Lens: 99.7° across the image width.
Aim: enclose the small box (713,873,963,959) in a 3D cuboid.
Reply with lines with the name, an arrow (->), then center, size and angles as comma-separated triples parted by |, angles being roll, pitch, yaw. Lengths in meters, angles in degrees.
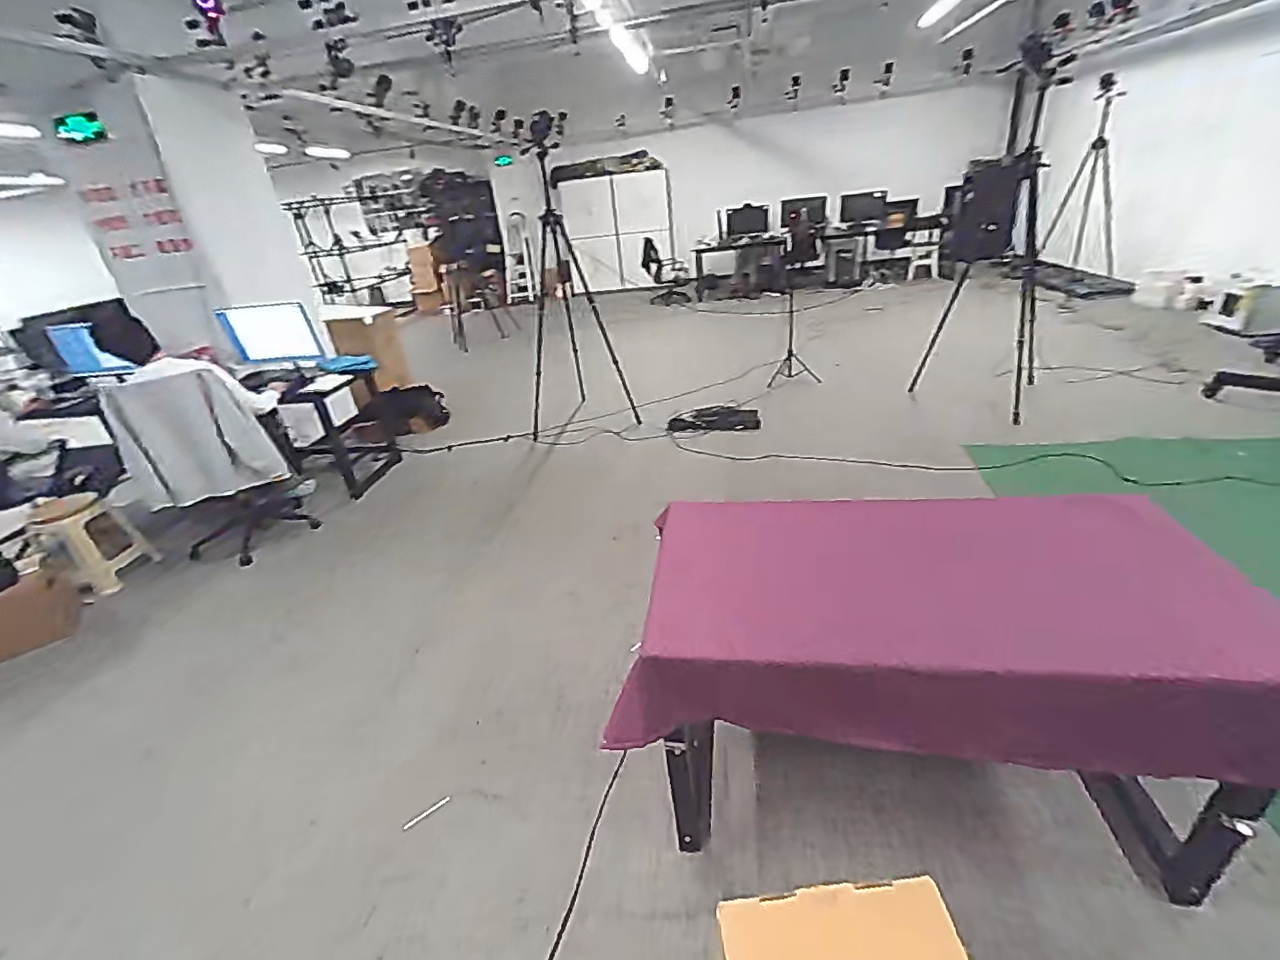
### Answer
small box -> 0.152, 0.423, 0.388 | 0.168, 0.176, 0.179 | -8, 36, -1
